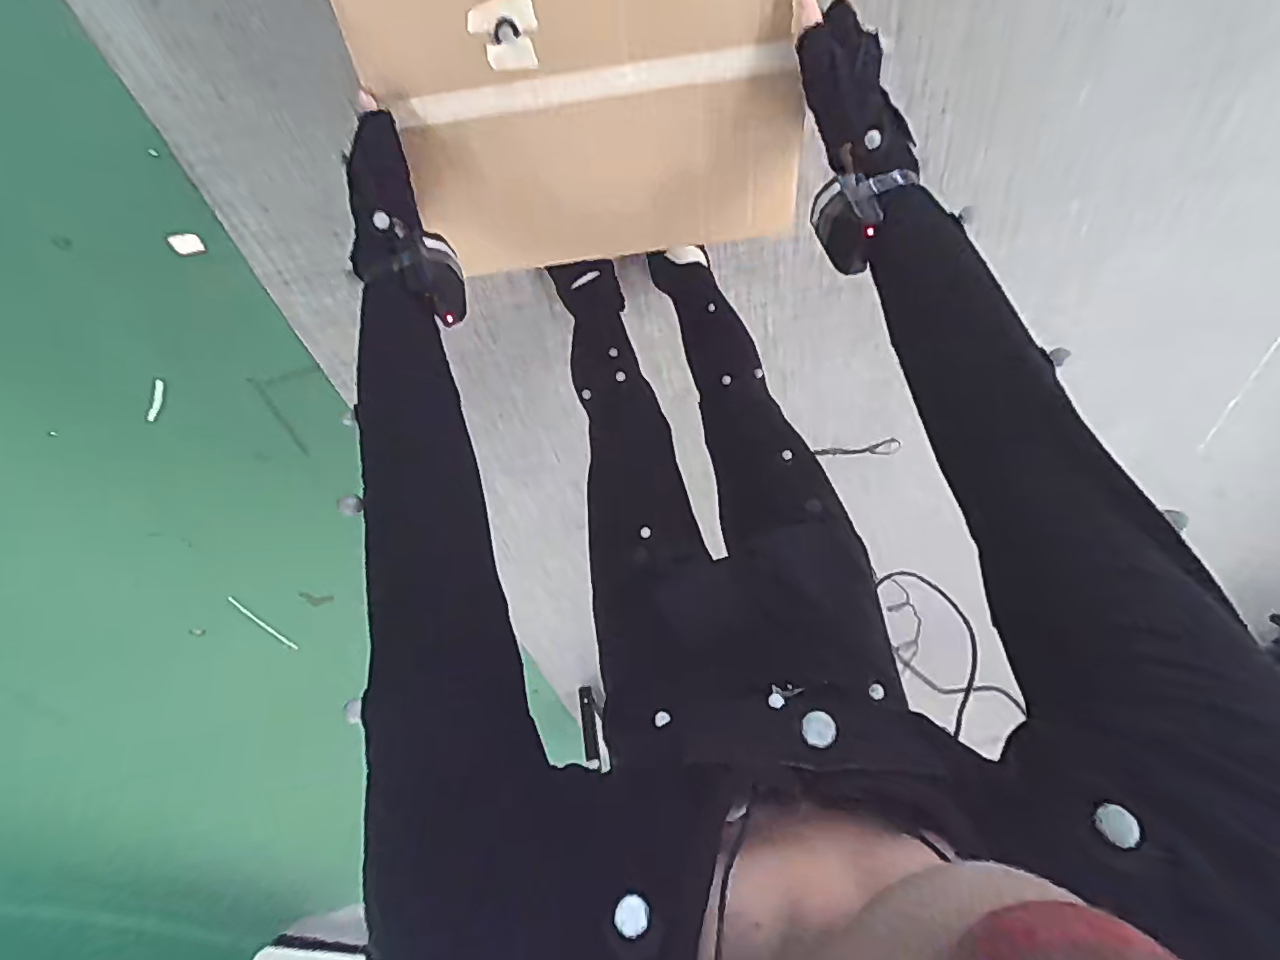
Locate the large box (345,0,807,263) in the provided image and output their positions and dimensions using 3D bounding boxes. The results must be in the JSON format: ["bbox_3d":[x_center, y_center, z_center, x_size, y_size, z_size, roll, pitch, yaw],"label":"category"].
[{"bbox_3d":[-0.054,-0.482,0.606,0.408,0.320,0.320,-7,133,1],"label":"large box"}]
